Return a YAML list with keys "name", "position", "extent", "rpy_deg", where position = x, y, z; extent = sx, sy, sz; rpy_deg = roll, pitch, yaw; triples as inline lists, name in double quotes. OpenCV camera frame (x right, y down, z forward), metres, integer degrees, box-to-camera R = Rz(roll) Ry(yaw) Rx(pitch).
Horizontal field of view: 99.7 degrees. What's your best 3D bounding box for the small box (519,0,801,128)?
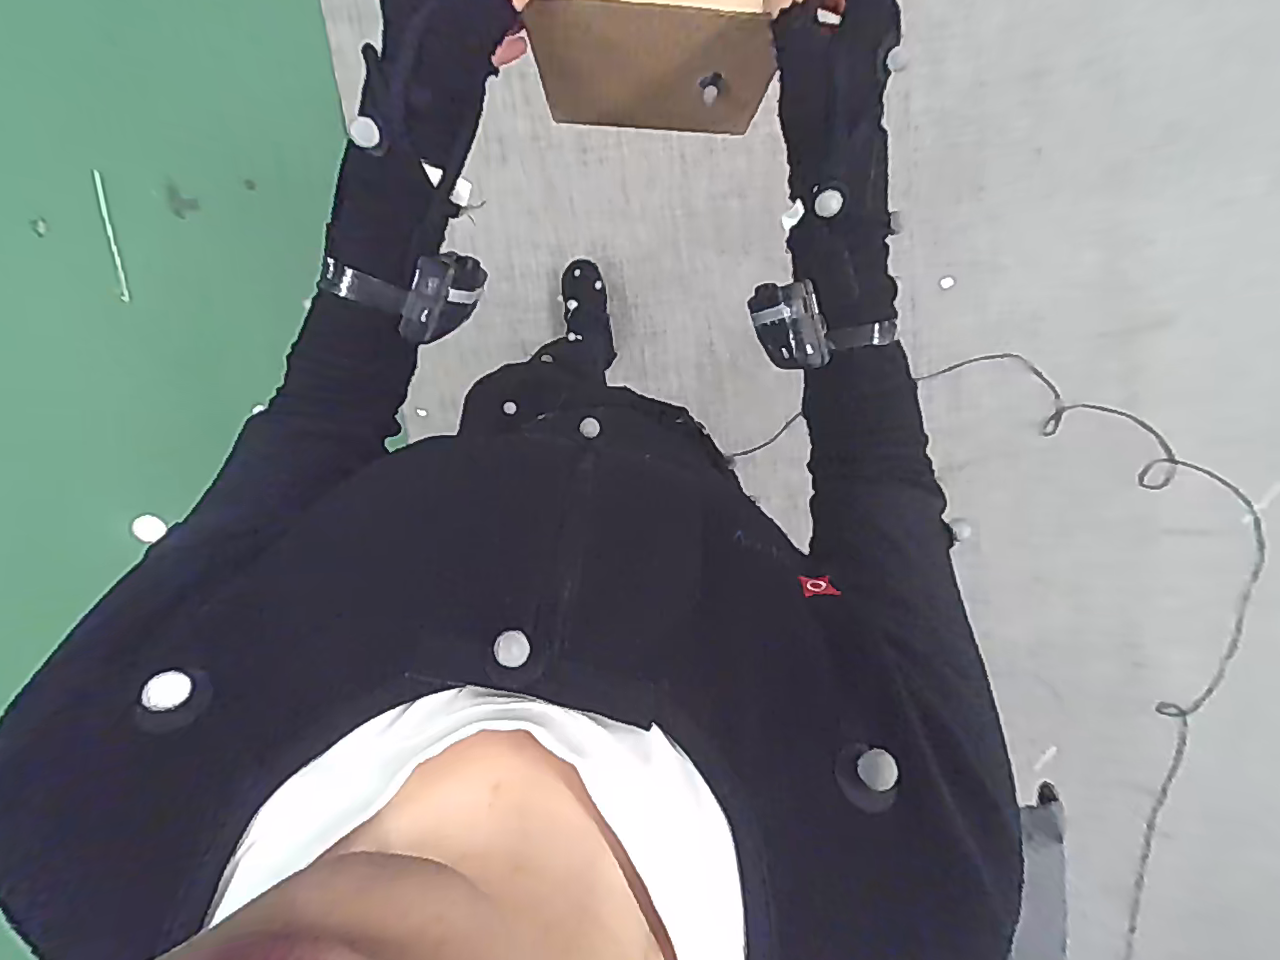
- name: "small box"
  position: [0.014, -0.382, 0.391]
  extent: [0.179, 0.176, 0.168]
  rpy_deg: [2, 99, 0]
